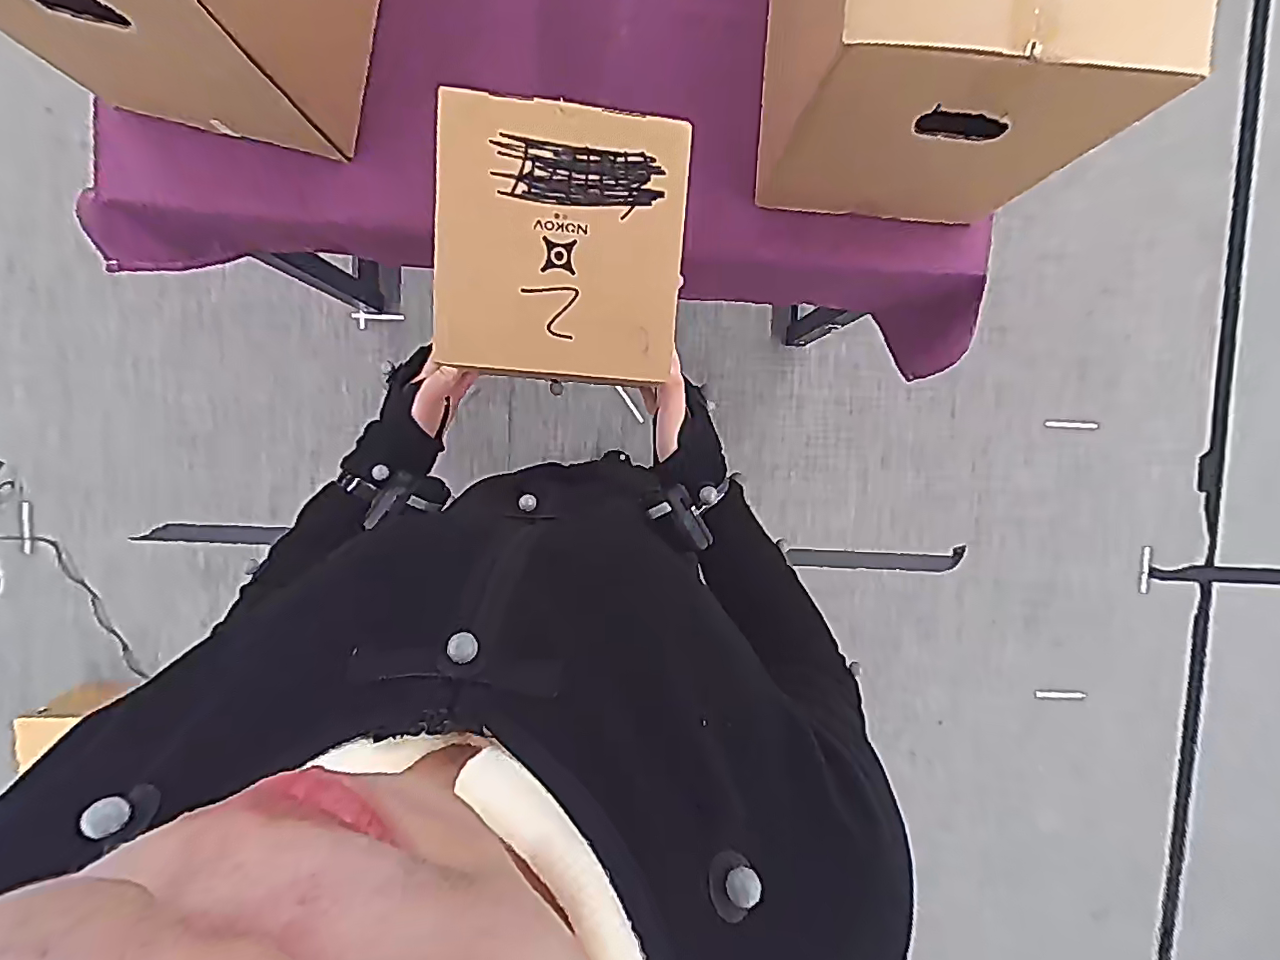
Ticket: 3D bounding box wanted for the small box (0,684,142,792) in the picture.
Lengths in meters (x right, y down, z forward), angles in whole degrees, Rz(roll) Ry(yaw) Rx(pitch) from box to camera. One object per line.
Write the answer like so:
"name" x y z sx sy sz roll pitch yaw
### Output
"small box" -1.442 0.650 1.368 0.168 0.176 0.179 2 114 16
